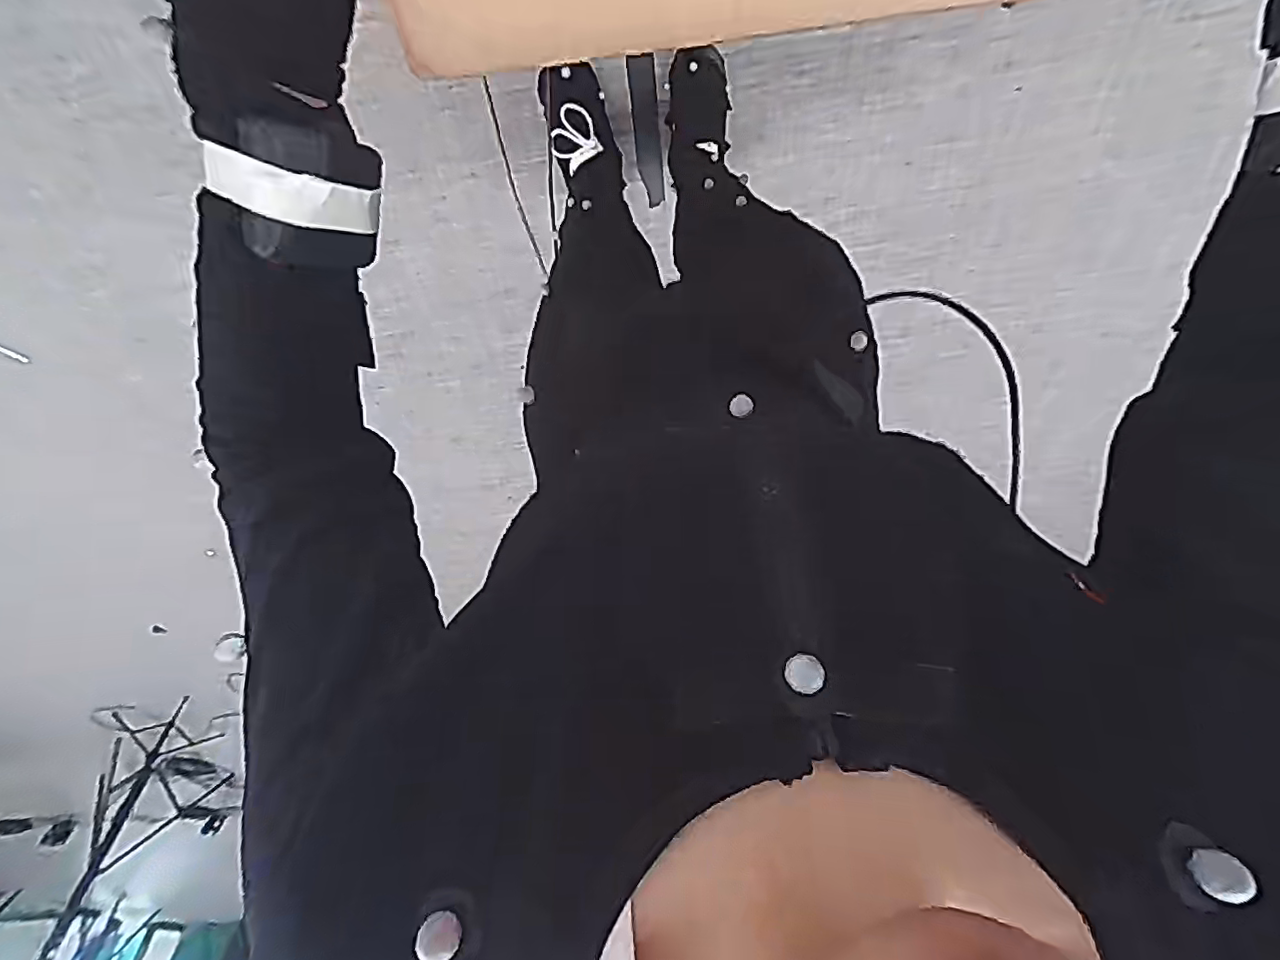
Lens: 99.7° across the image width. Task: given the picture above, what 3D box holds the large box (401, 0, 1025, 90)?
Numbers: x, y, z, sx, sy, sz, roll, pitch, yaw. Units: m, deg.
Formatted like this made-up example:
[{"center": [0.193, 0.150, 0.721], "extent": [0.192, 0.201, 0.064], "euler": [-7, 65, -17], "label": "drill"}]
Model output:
[{"center": [0.059, -0.448, 0.256], "extent": [0.408, 0.320, 0.320], "euler": [-6, 142, 4], "label": "large box"}]
